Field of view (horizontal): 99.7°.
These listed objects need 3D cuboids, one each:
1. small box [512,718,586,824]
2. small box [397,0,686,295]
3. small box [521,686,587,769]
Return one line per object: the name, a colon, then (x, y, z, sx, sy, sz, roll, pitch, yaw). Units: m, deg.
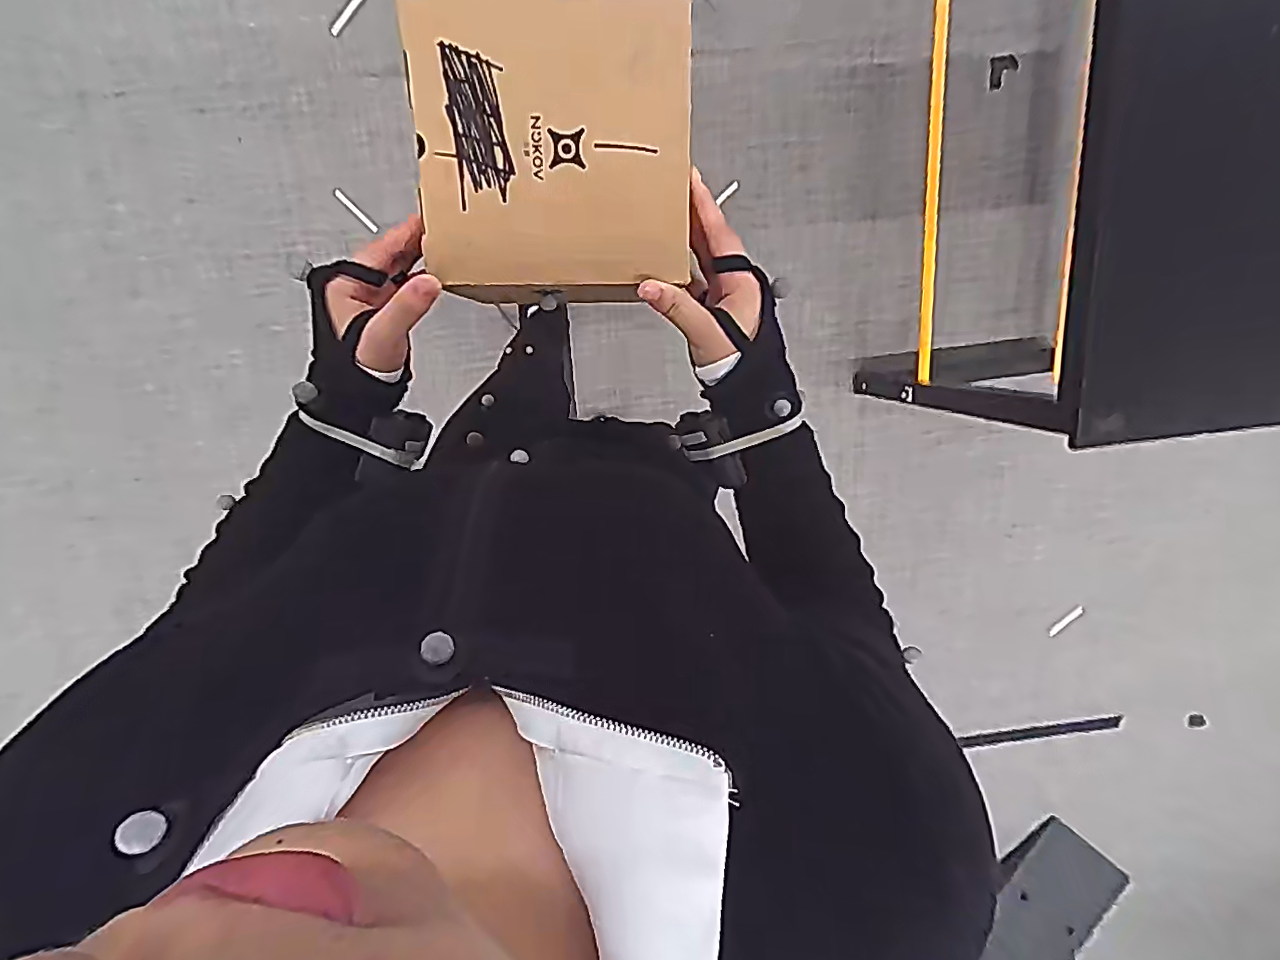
small box: (-0.233, 0.757, 1.417, 0.168, 0.176, 0.179, -4, 104, -3)
small box: (-0.062, -0.236, 0.419, 0.179, 0.176, 0.168, -2, 104, -4)
small box: (-0.247, 0.724, 1.579, 0.168, 0.176, 0.179, -6, 104, -3)
